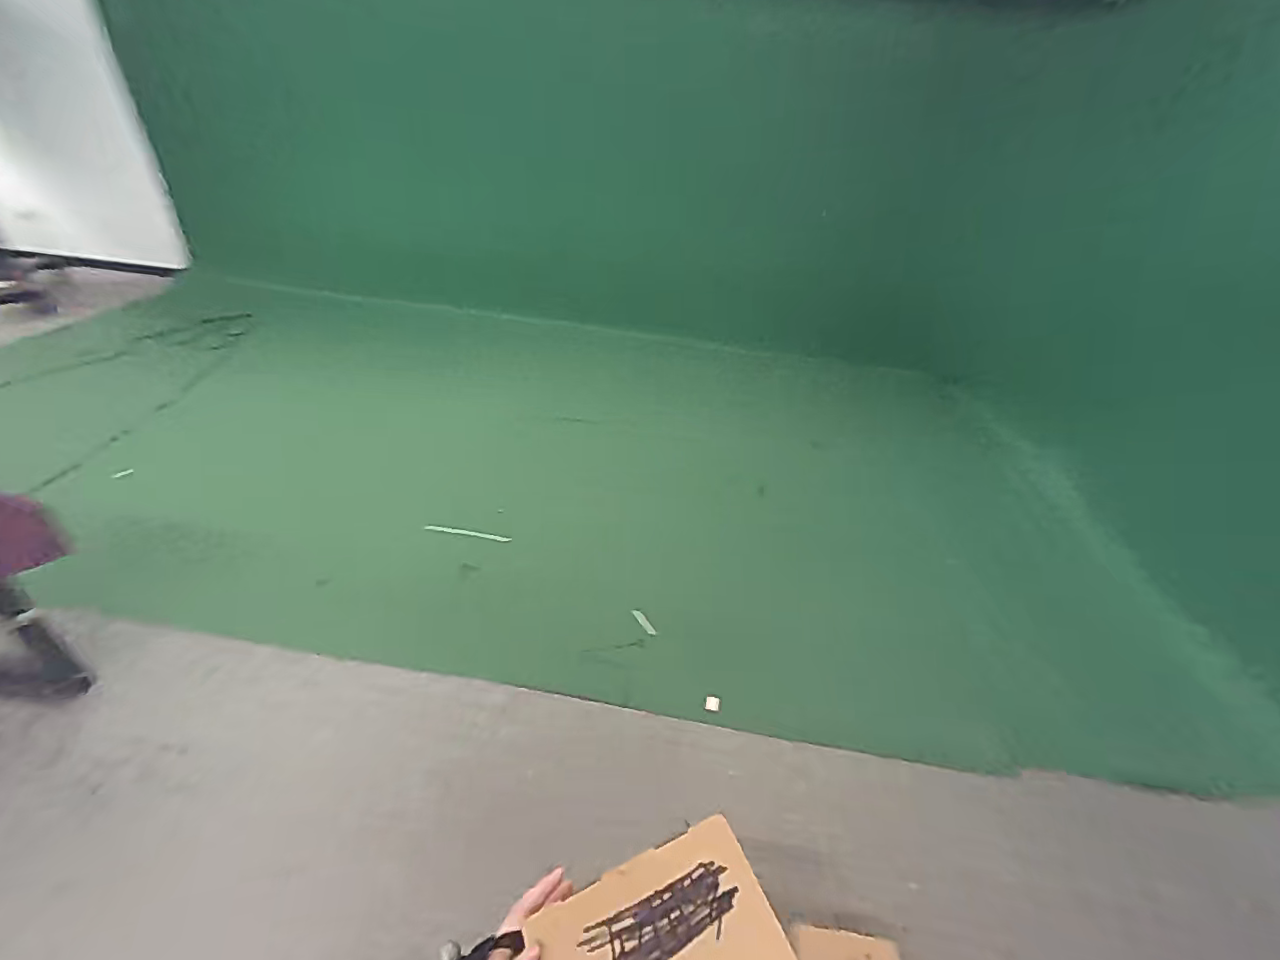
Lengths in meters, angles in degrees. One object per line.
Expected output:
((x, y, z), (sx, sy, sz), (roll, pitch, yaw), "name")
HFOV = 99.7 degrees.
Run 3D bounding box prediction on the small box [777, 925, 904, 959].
((0.320, 0.850, 0.850), (0.168, 0.176, 0.179), (10, 35, 2), "small box")
